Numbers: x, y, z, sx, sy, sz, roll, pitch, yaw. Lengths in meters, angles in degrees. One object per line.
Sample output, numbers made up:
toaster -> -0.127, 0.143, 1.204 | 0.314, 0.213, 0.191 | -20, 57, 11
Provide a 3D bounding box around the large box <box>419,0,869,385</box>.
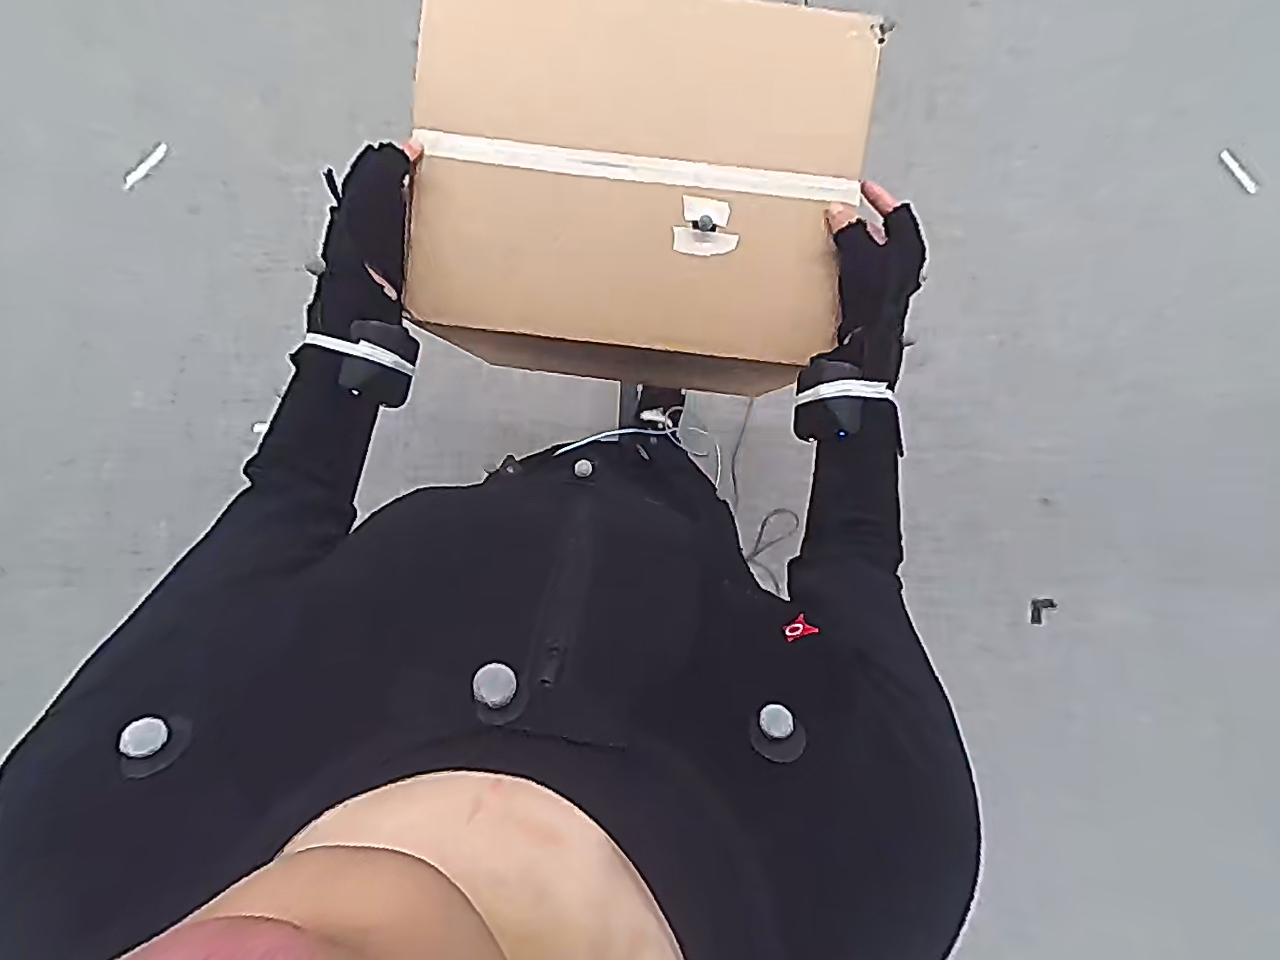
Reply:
large box -> -0.003, -0.302, 0.653 | 0.408, 0.320, 0.320 | 6, 95, -2
